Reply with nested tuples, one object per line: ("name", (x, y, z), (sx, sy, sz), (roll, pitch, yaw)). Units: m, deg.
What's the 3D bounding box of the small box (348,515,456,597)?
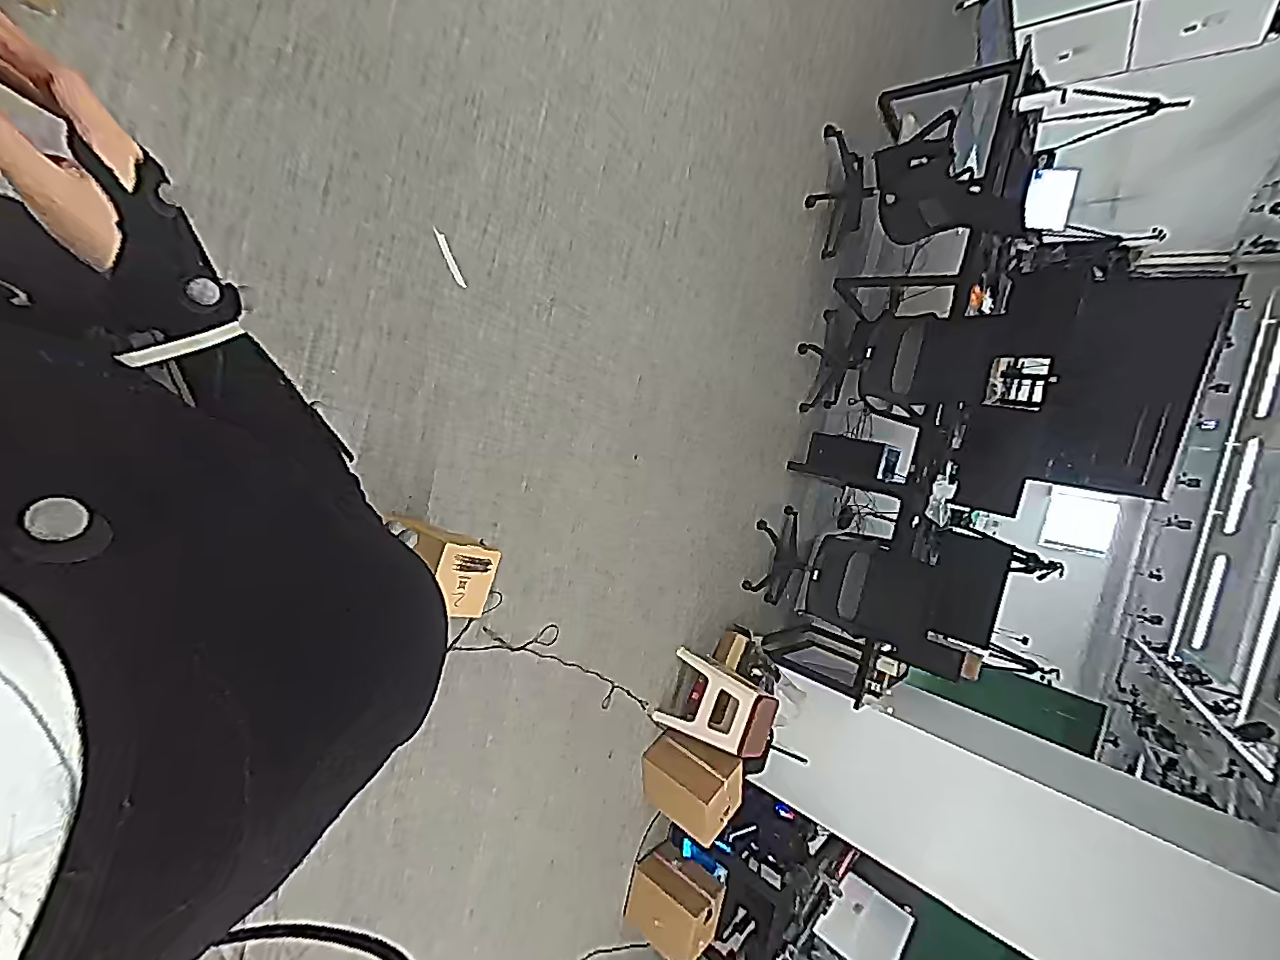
("small box", (-0.625, 0.197, 1.419), (0.179, 0.176, 0.168), (23, 82, -51))
